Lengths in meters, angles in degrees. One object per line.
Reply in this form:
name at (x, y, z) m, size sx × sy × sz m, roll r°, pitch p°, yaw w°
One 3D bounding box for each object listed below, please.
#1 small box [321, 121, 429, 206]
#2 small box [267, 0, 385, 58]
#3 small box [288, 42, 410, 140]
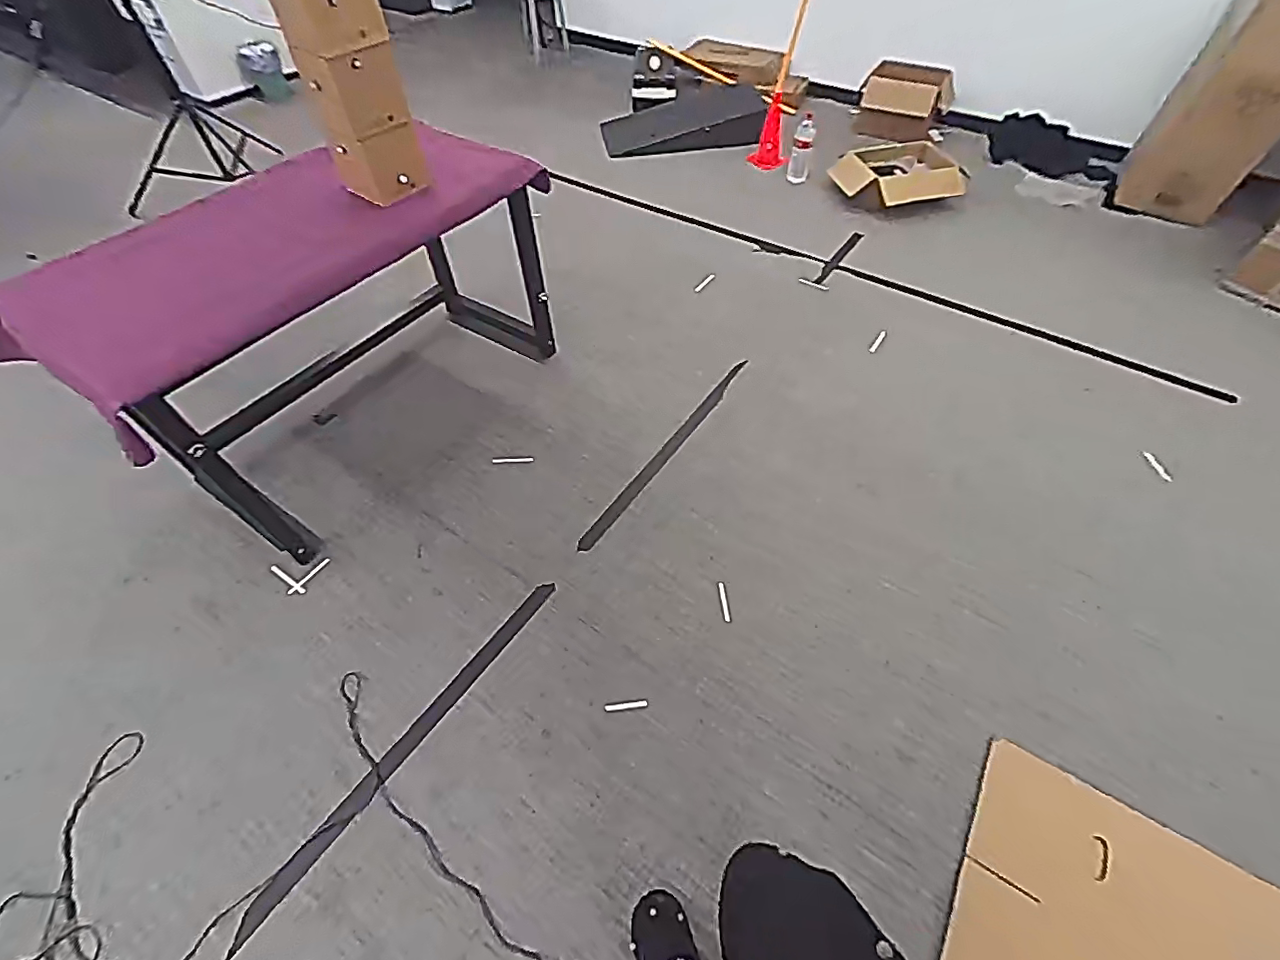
small box at (-0.707, -0.868, 1.459) m, size 0.179 × 0.176 × 0.168 m, roll 32°, pitch 60°, yaw 21°
small box at (-0.702, -1.058, 1.192) m, size 0.179 × 0.176 × 0.168 m, roll 33°, pitch 61°, yaw 23°
small box at (-0.706, -0.963, 1.326) m, size 0.179 × 0.176 × 0.168 m, roll 33°, pitch 61°, yaw 24°
